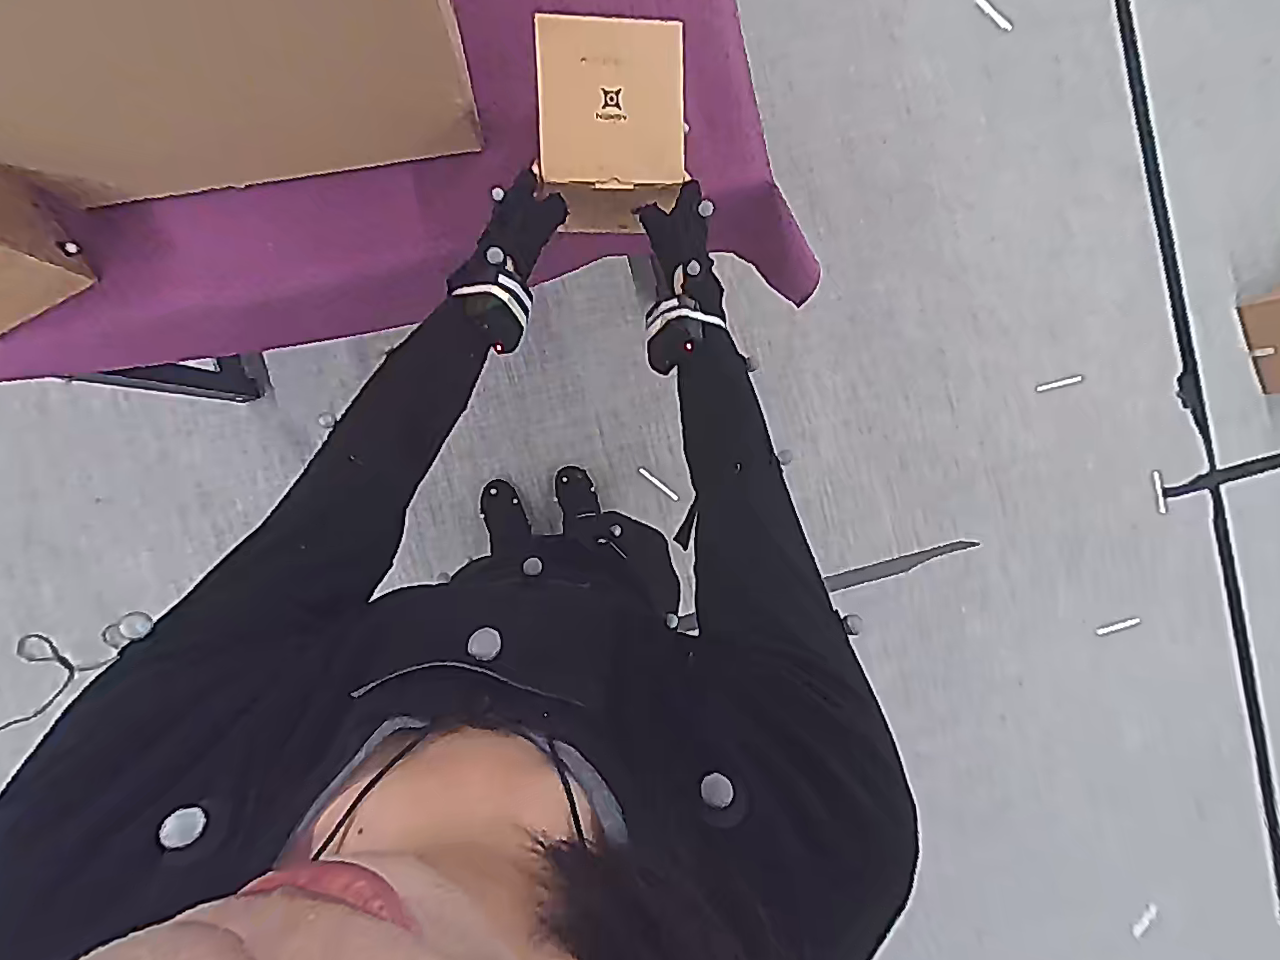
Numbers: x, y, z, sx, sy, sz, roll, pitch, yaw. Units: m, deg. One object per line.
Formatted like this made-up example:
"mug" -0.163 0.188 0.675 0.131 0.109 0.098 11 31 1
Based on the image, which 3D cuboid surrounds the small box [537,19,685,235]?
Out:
"small box" -0.040 -0.426 0.685 0.168 0.176 0.179 -3 95 -8
